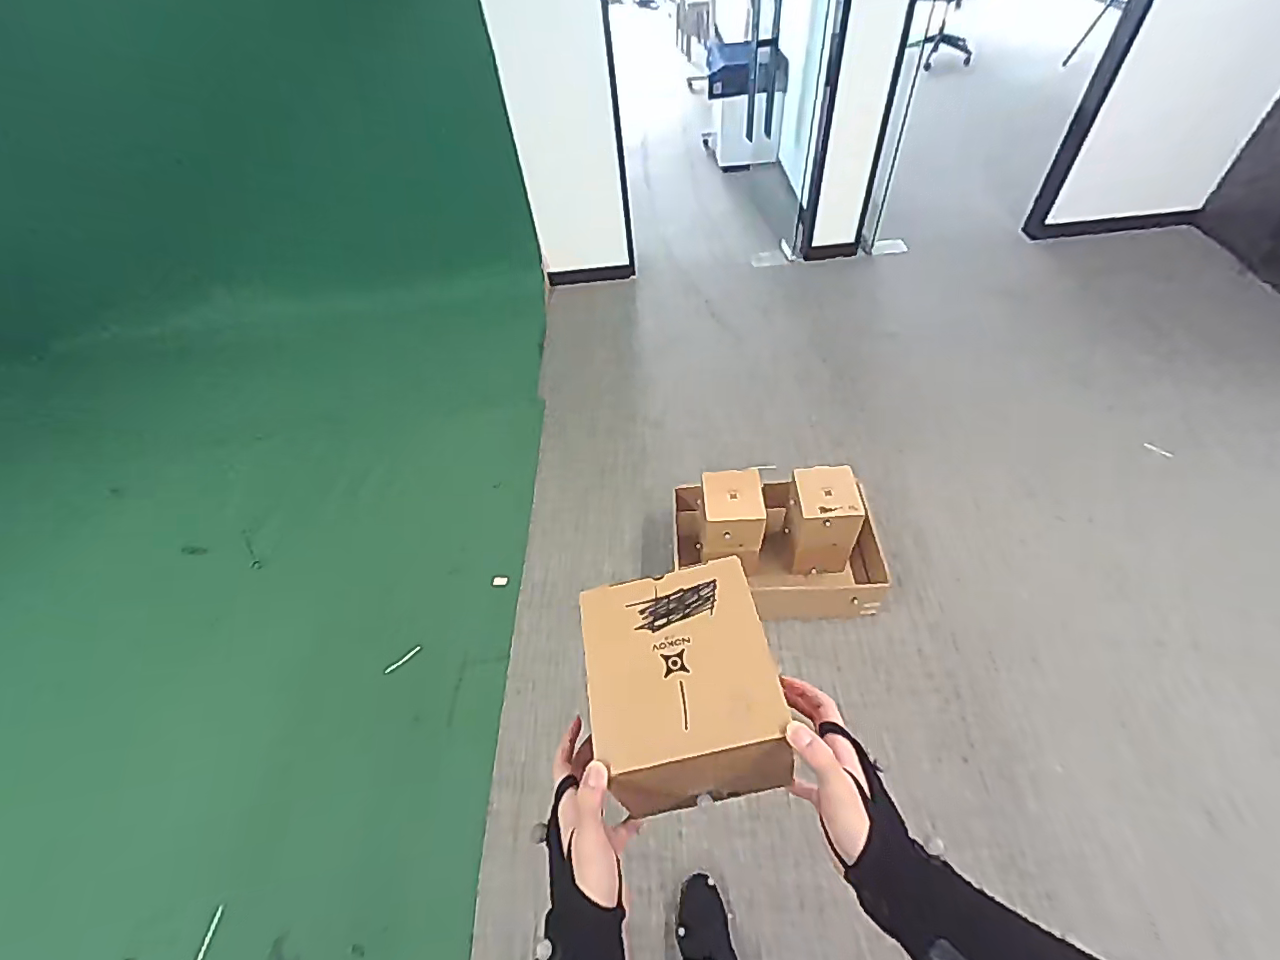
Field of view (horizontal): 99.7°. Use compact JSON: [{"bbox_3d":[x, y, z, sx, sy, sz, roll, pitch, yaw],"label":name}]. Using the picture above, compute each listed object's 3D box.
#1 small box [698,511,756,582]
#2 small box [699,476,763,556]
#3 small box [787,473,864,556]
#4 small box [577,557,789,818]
[{"bbox_3d":[0.269,0.213,1.707,0.168,0.176,0.179,-2,50,3],"label":"small box"},{"bbox_3d":[0.262,0.111,1.583,0.168,0.176,0.179,-3,50,3],"label":"small box"},{"bbox_3d":[0.526,0.102,1.564,0.168,0.176,0.179,-4,50,5],"label":"small box"},{"bbox_3d":[0.040,0.208,0.539,0.168,0.176,0.179,-13,47,2],"label":"small box"}]
